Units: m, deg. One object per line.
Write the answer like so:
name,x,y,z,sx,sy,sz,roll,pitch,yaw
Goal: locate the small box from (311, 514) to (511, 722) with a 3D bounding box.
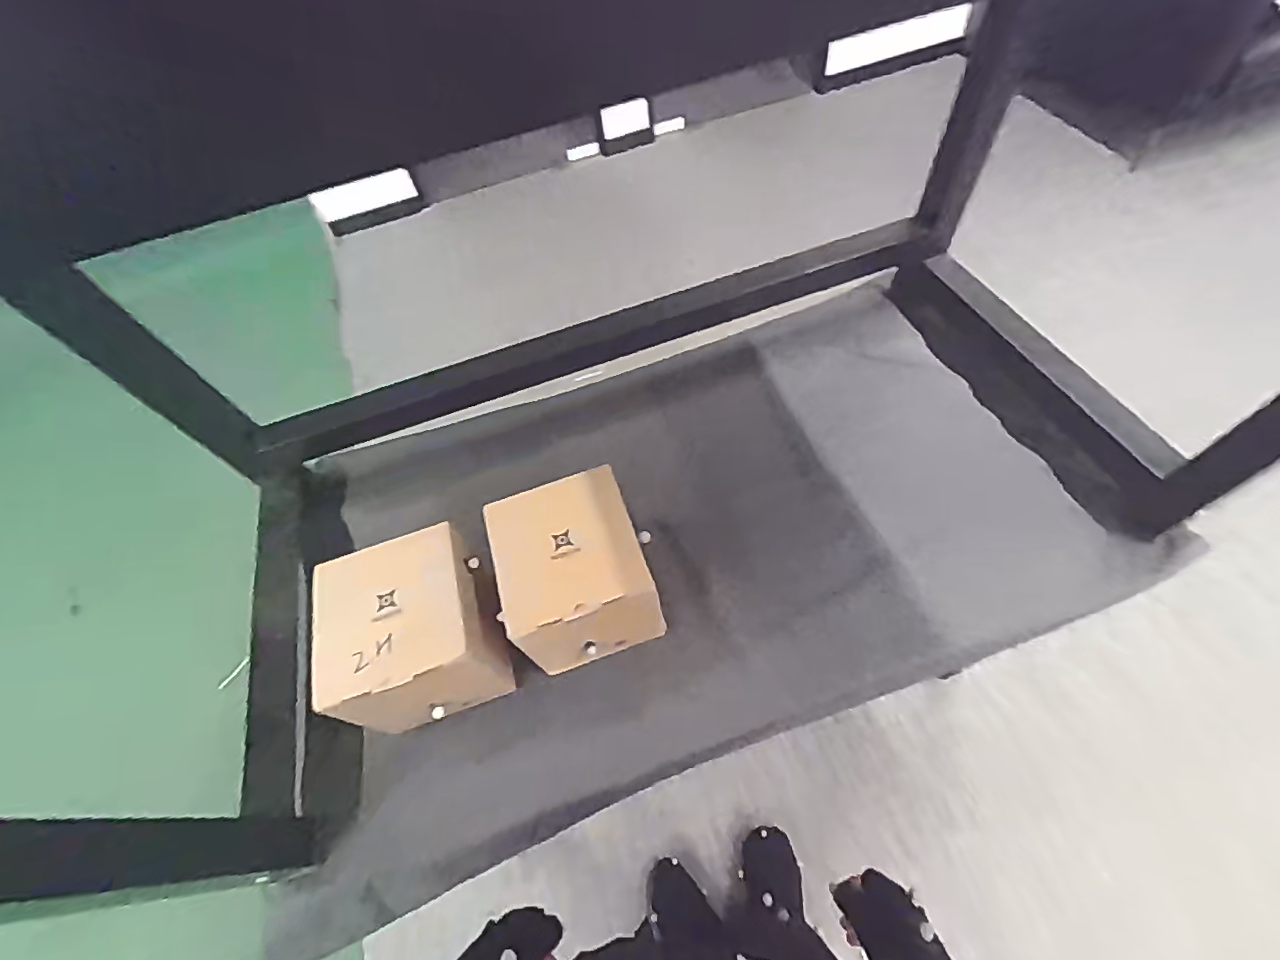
small box,-0.275,0.175,0.671,0.168,0.176,0.179,-19,57,-4
